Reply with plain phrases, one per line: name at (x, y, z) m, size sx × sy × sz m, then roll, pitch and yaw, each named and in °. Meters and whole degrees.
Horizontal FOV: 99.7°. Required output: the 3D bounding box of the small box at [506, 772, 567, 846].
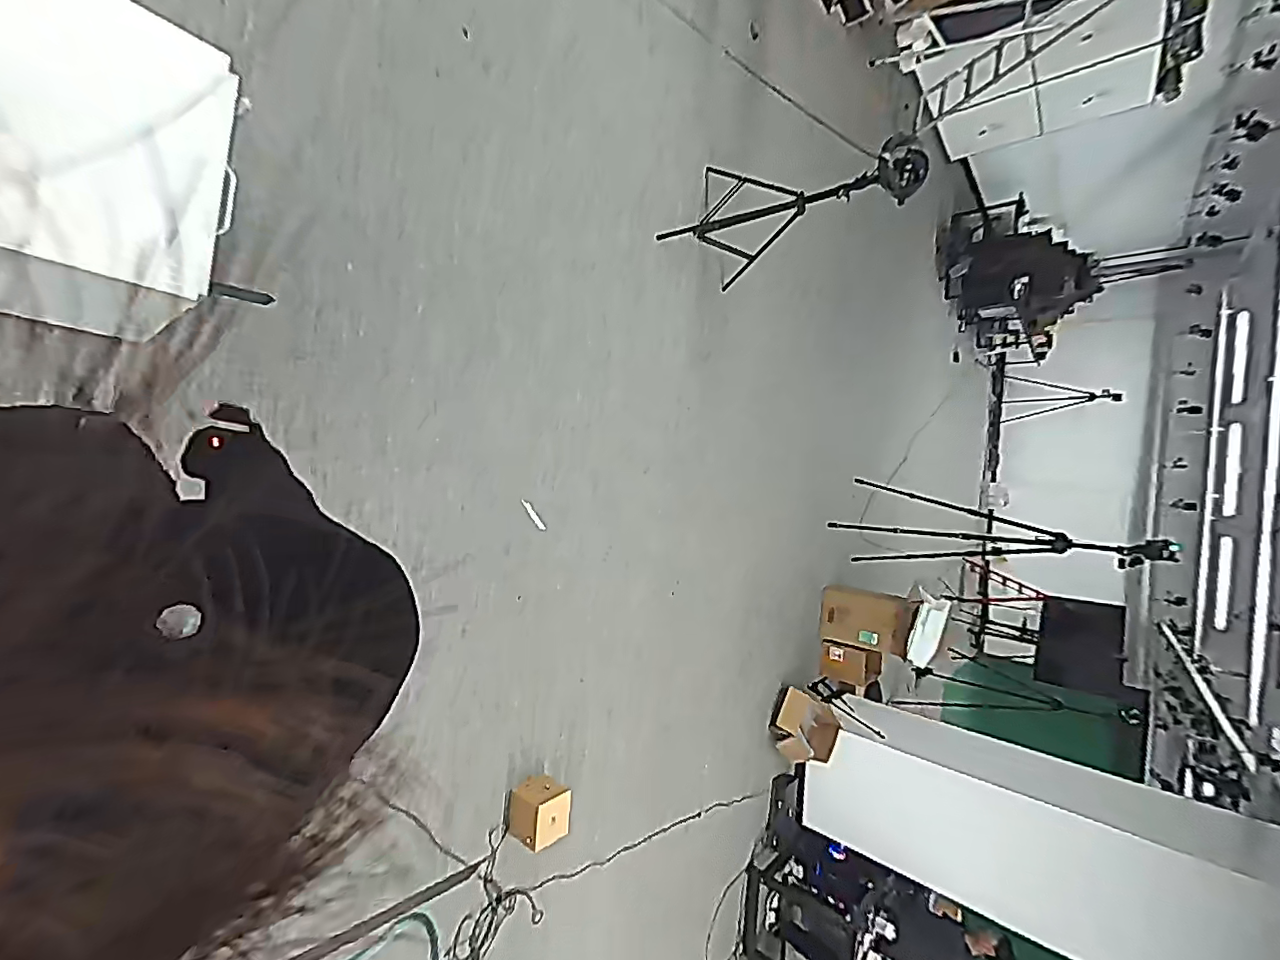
small box at (-0.406, 1.271, 2.109) m, size 0.168 × 0.176 × 0.179 m, roll 5°, pitch 91°, yaw -49°
